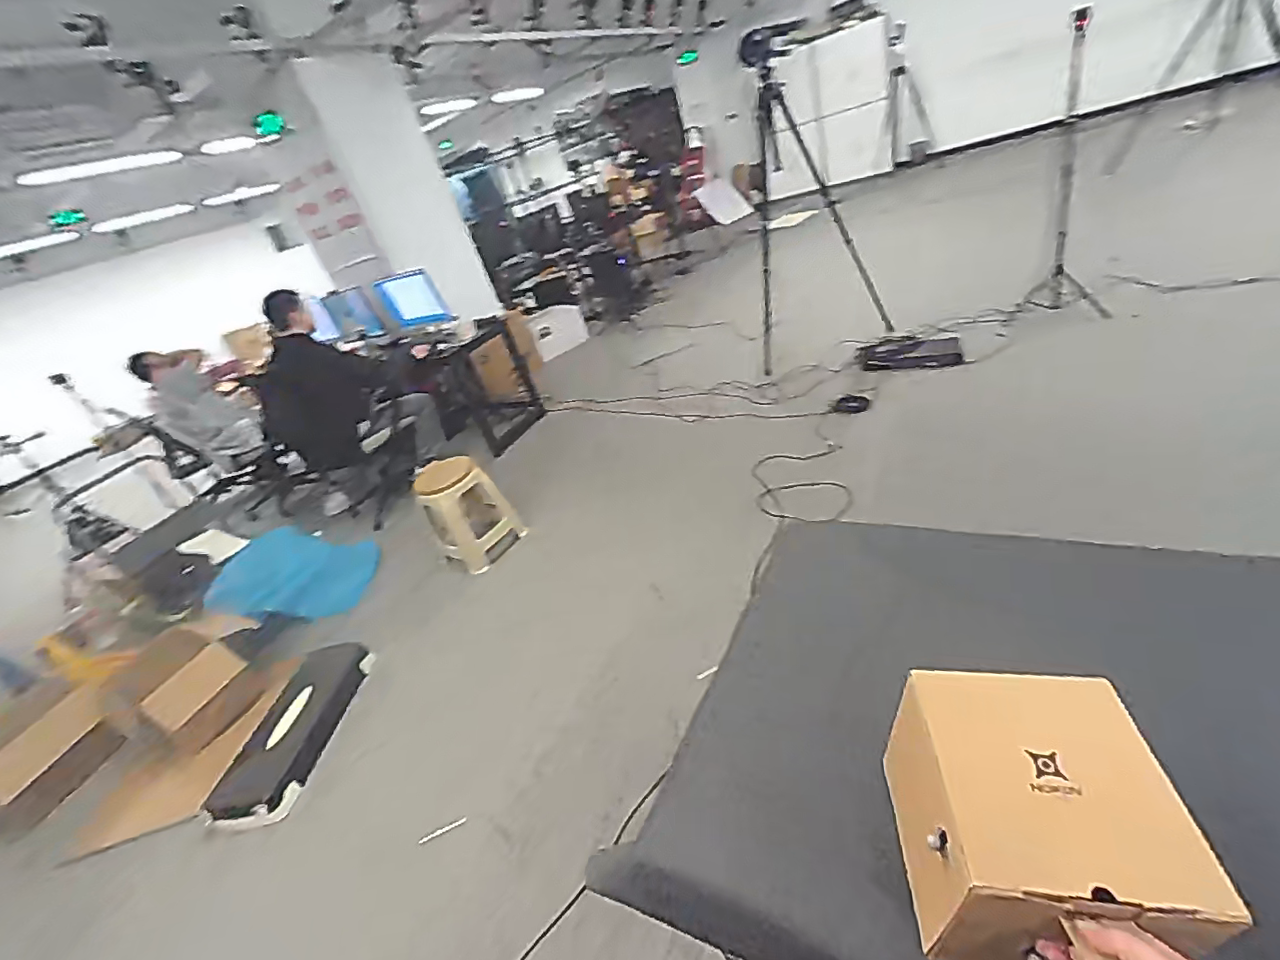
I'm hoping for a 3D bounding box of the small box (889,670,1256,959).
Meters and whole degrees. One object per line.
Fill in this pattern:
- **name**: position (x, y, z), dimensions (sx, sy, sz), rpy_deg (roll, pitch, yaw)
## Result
- **small box**: position (0.329, 0.292, 0.468), dimensions (0.168, 0.176, 0.179), rpy_deg (0, 37, 10)
